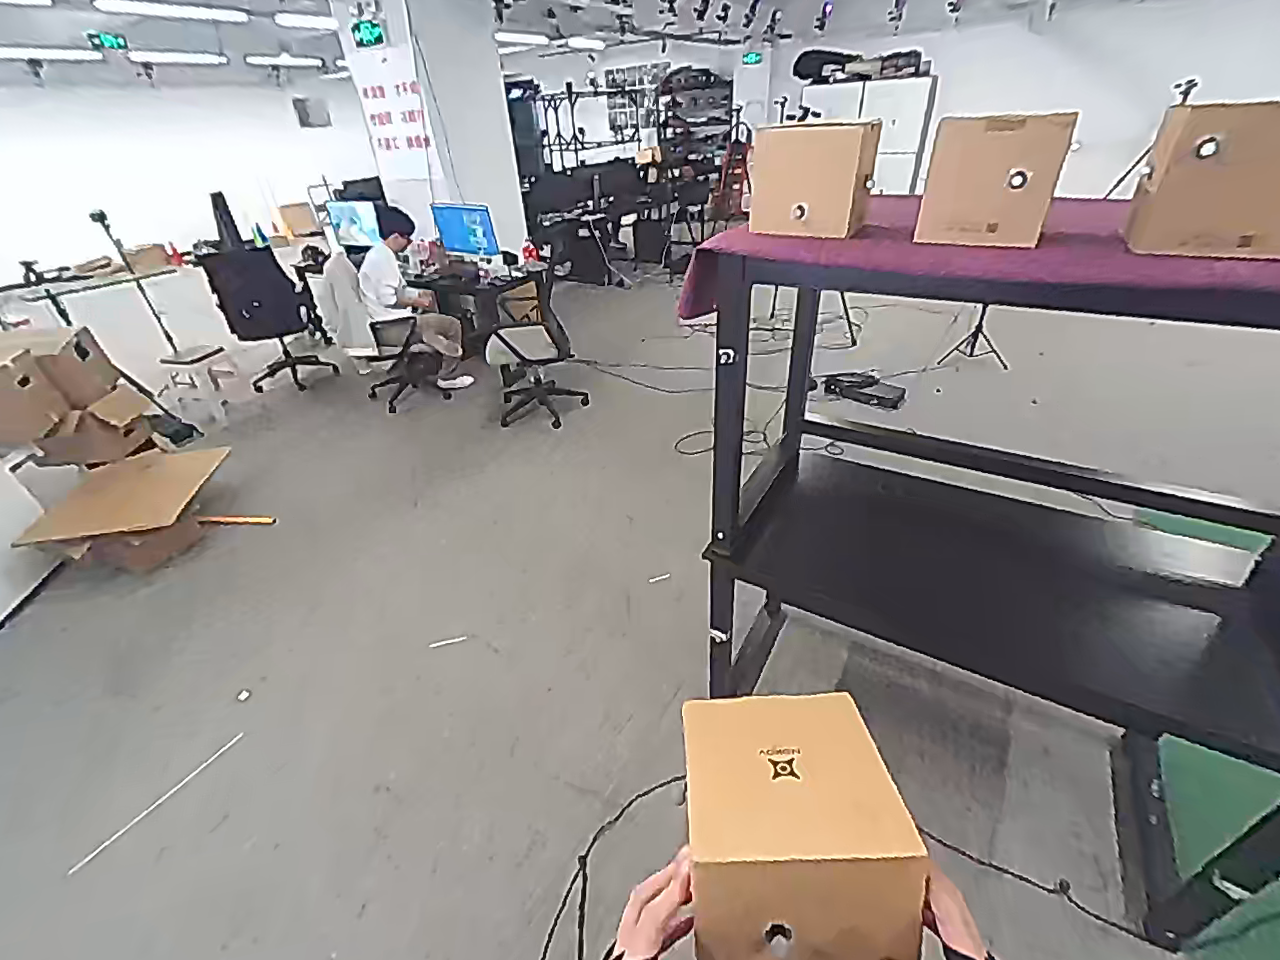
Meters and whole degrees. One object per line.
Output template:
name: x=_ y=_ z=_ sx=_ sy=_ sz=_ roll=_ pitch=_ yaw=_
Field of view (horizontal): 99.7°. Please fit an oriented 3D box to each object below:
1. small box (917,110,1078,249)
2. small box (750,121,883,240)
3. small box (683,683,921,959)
small box: x=0.543 y=-0.461 z=0.832 sx=0.168 sy=0.176 sz=0.179 roll=19 pitch=38 yaw=29
small box: x=0.308 y=-0.529 z=0.955 sx=0.179 sy=0.176 sz=0.168 roll=16 pitch=38 yaw=25
small box: x=0.128 y=0.308 z=0.476 sx=0.168 sy=0.176 sz=0.179 roll=-5 pitch=15 yaw=4
